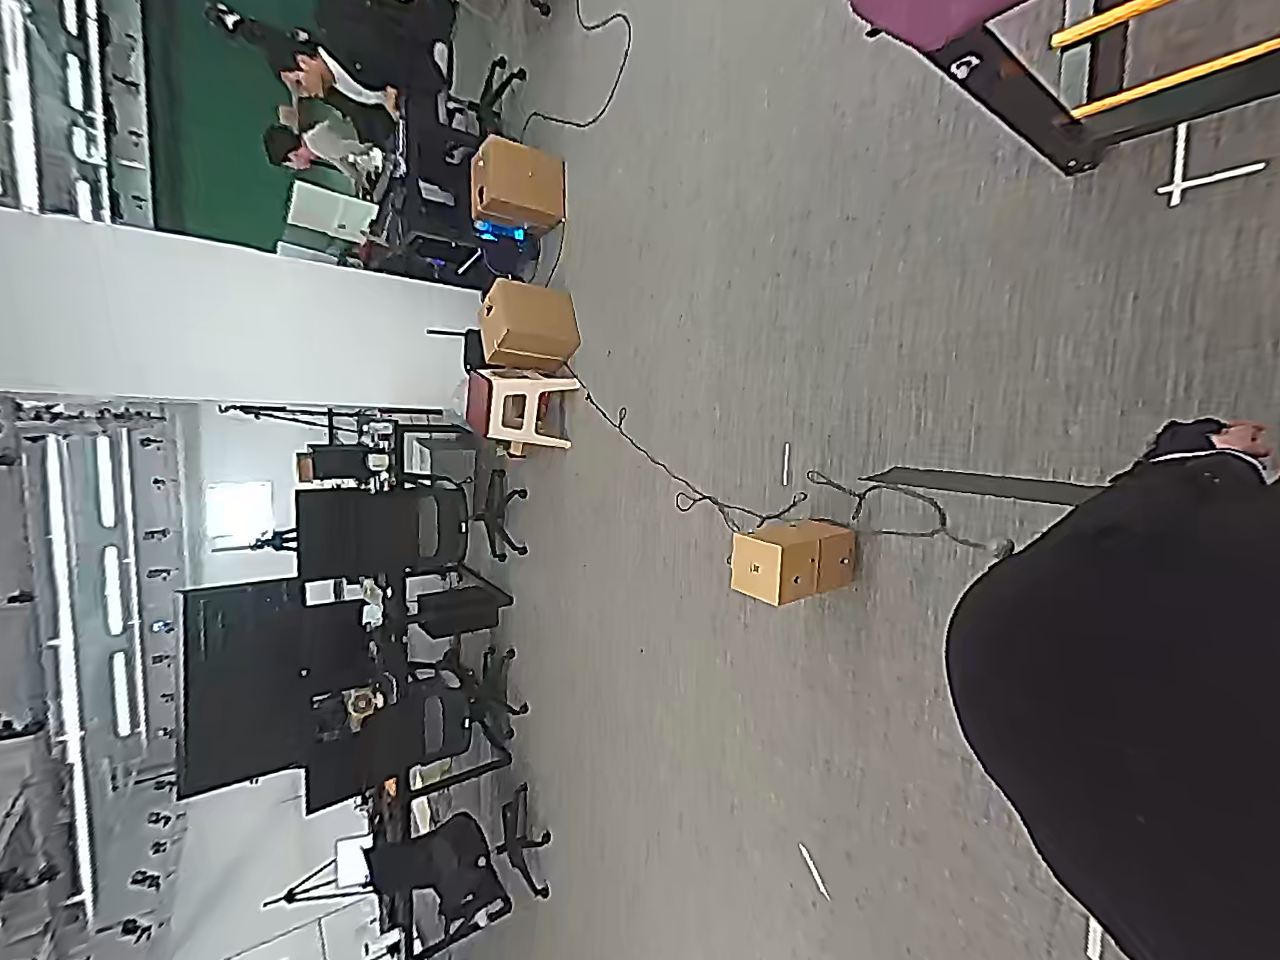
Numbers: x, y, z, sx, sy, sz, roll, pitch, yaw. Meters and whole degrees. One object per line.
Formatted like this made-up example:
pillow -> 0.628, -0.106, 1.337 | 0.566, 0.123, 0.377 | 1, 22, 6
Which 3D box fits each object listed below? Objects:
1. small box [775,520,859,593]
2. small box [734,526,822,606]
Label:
small box -> 0.516, 0.216, 1.594 | 0.179, 0.176, 0.168 | 12, 105, 53
small box -> 0.384, 0.230, 1.500 | 0.179, 0.176, 0.168 | 12, 105, 54
